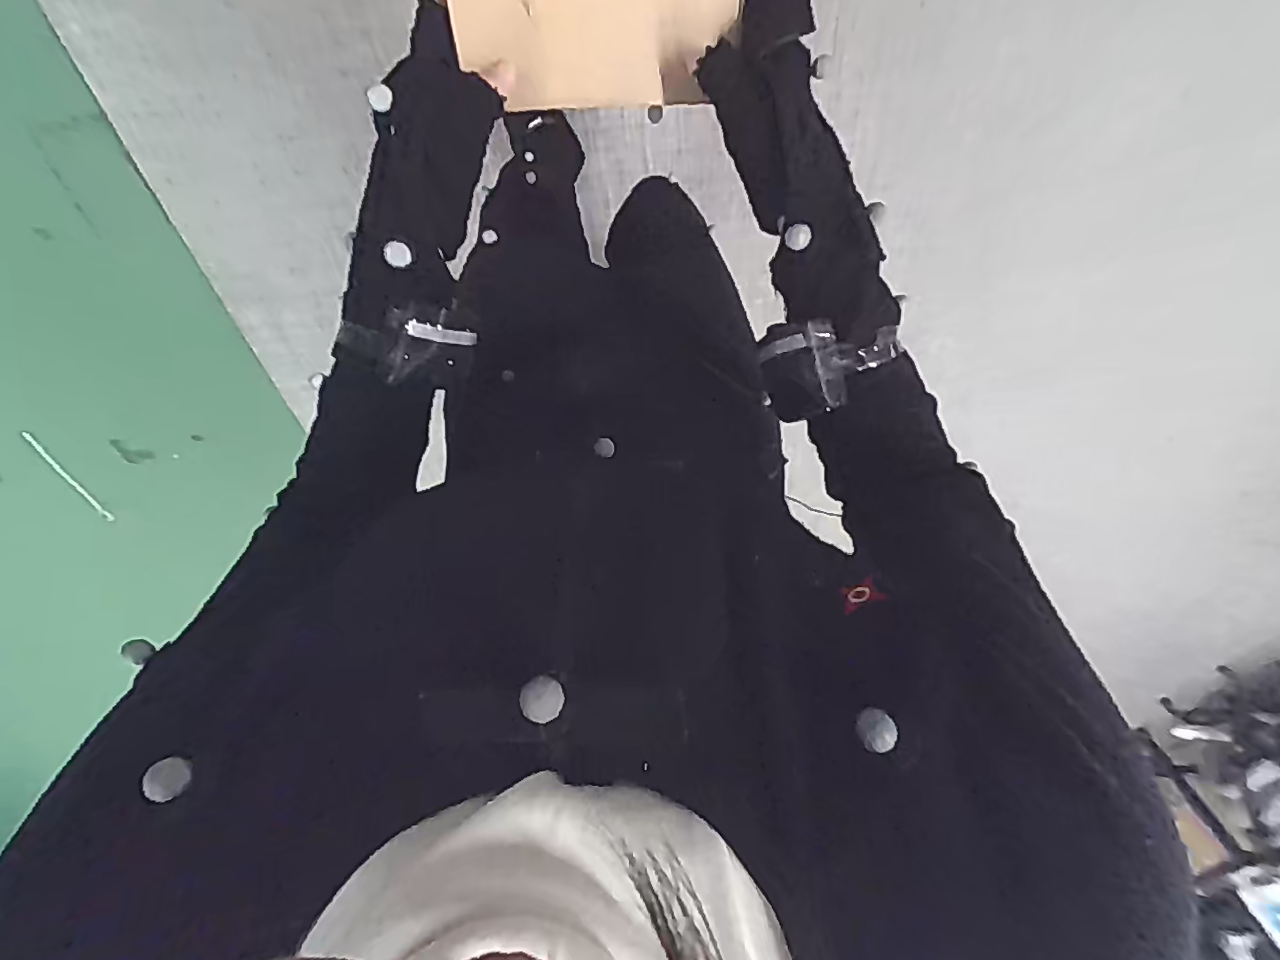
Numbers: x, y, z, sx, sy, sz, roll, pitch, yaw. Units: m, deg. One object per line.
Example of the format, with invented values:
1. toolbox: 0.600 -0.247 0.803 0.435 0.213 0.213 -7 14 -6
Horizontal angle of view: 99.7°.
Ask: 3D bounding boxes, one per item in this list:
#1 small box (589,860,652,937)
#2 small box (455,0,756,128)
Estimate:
1. small box: -0.065 1.368 1.771 0.179 0.176 0.168 -9 133 1
2. small box: -0.031 -0.348 0.355 0.179 0.176 0.168 -9 129 -2
